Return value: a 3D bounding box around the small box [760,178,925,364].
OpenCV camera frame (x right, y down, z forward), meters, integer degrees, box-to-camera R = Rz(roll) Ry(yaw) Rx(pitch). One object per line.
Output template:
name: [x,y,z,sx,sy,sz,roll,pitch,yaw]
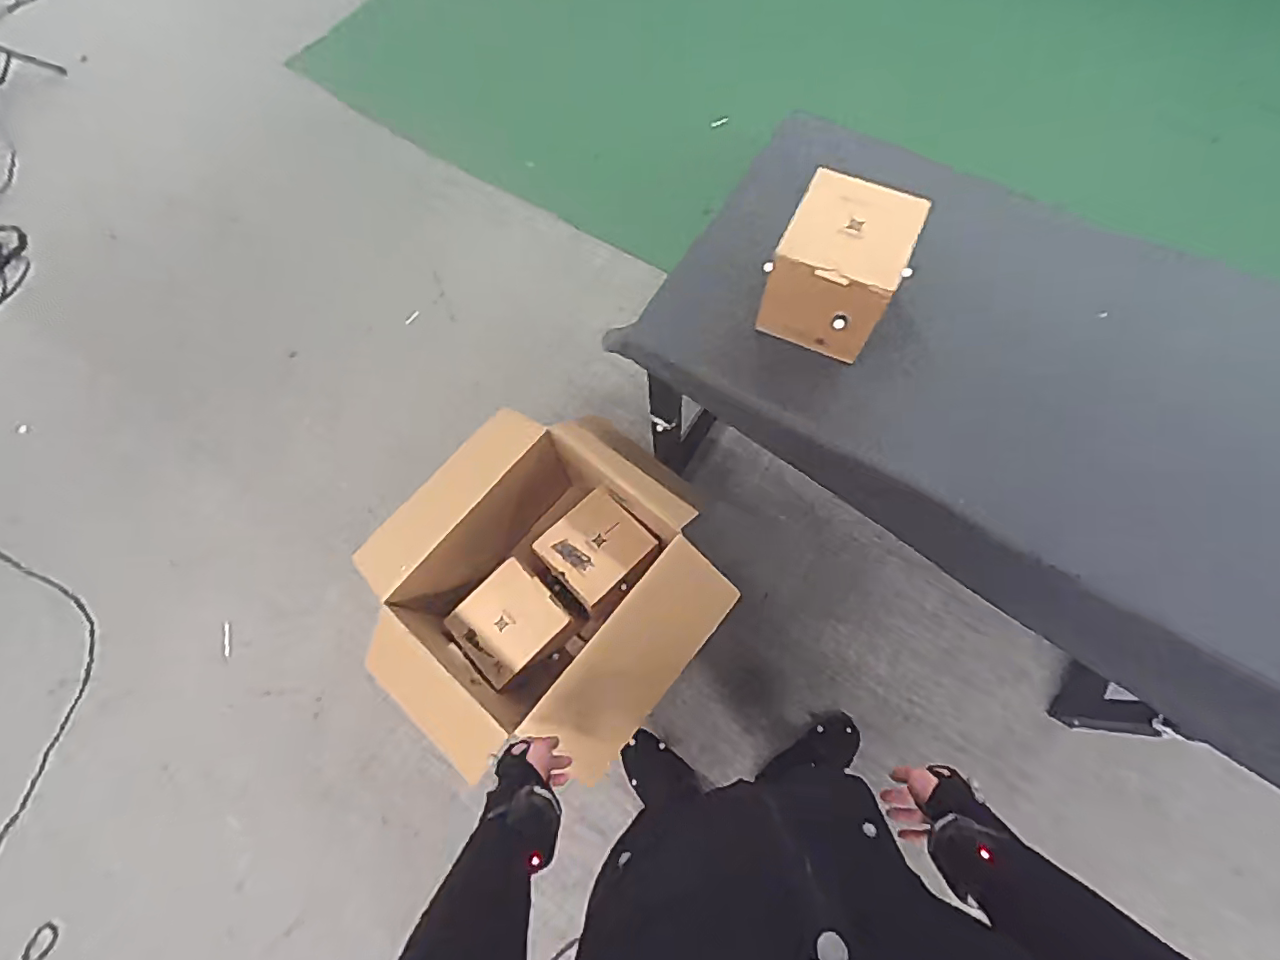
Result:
small box: [0.293,-0.307,0.819,0.168,0.176,0.179,24,70,10]
